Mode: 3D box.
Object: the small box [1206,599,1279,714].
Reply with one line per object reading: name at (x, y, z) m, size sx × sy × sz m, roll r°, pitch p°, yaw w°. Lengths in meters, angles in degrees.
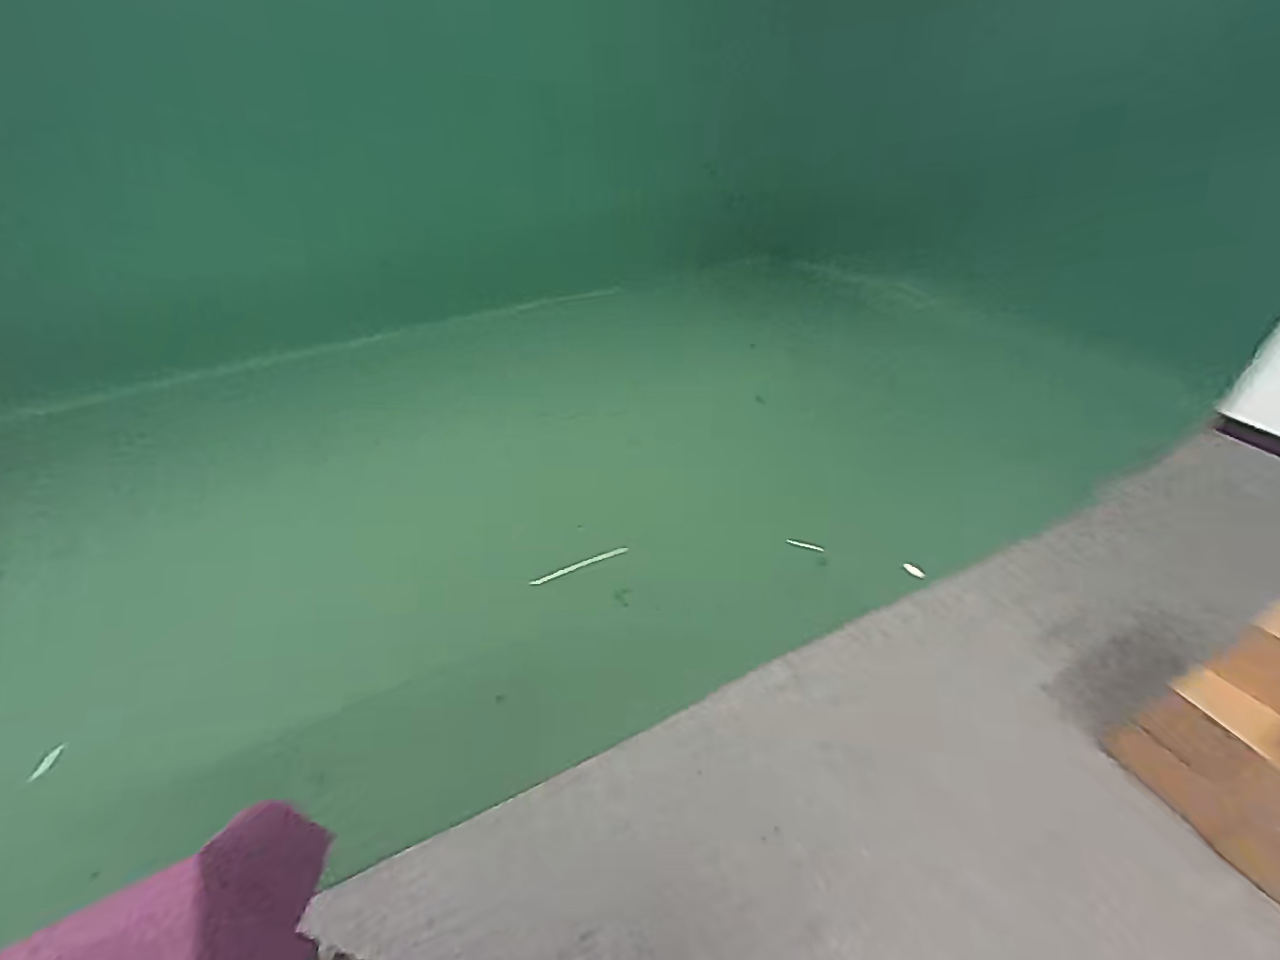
small box at (1.443, 0.399, 1.197) m, size 0.168 × 0.176 × 0.179 m, roll -19°, pitch 42°, yaw -22°
